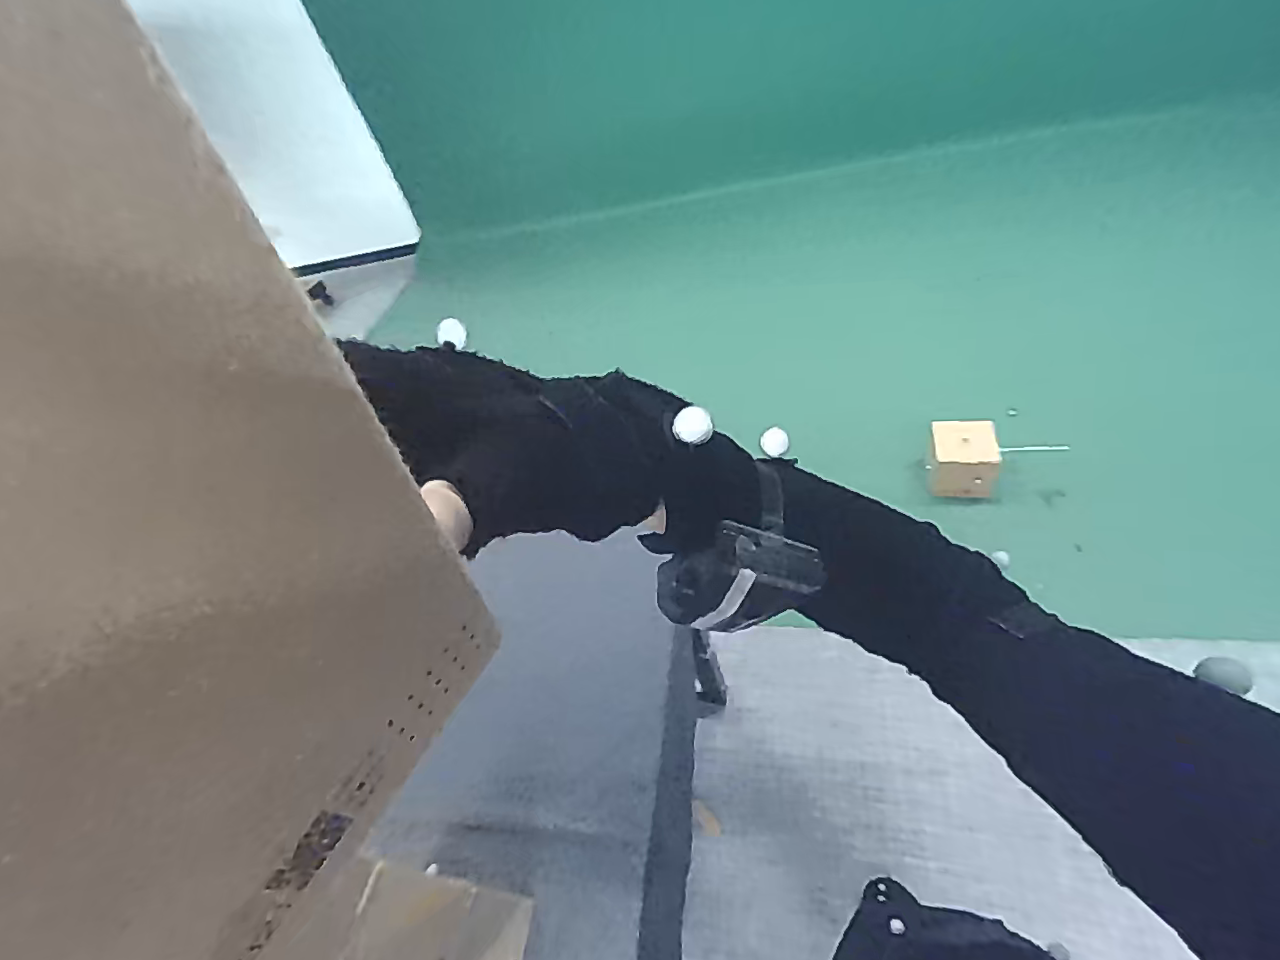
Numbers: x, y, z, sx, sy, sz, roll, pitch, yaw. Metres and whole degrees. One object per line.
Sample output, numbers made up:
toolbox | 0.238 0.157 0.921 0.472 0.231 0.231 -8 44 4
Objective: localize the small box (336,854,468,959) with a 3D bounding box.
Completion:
small box | -0.281 0.422 0.458 0.179 0.176 0.168 -3 48 16

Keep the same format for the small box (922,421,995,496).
small box | 0.996 -0.064 1.704 0.168 0.176 0.179 1 50 19

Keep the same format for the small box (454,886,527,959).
small box | -0.243 0.528 0.574 0.179 0.176 0.168 -4 48 17
